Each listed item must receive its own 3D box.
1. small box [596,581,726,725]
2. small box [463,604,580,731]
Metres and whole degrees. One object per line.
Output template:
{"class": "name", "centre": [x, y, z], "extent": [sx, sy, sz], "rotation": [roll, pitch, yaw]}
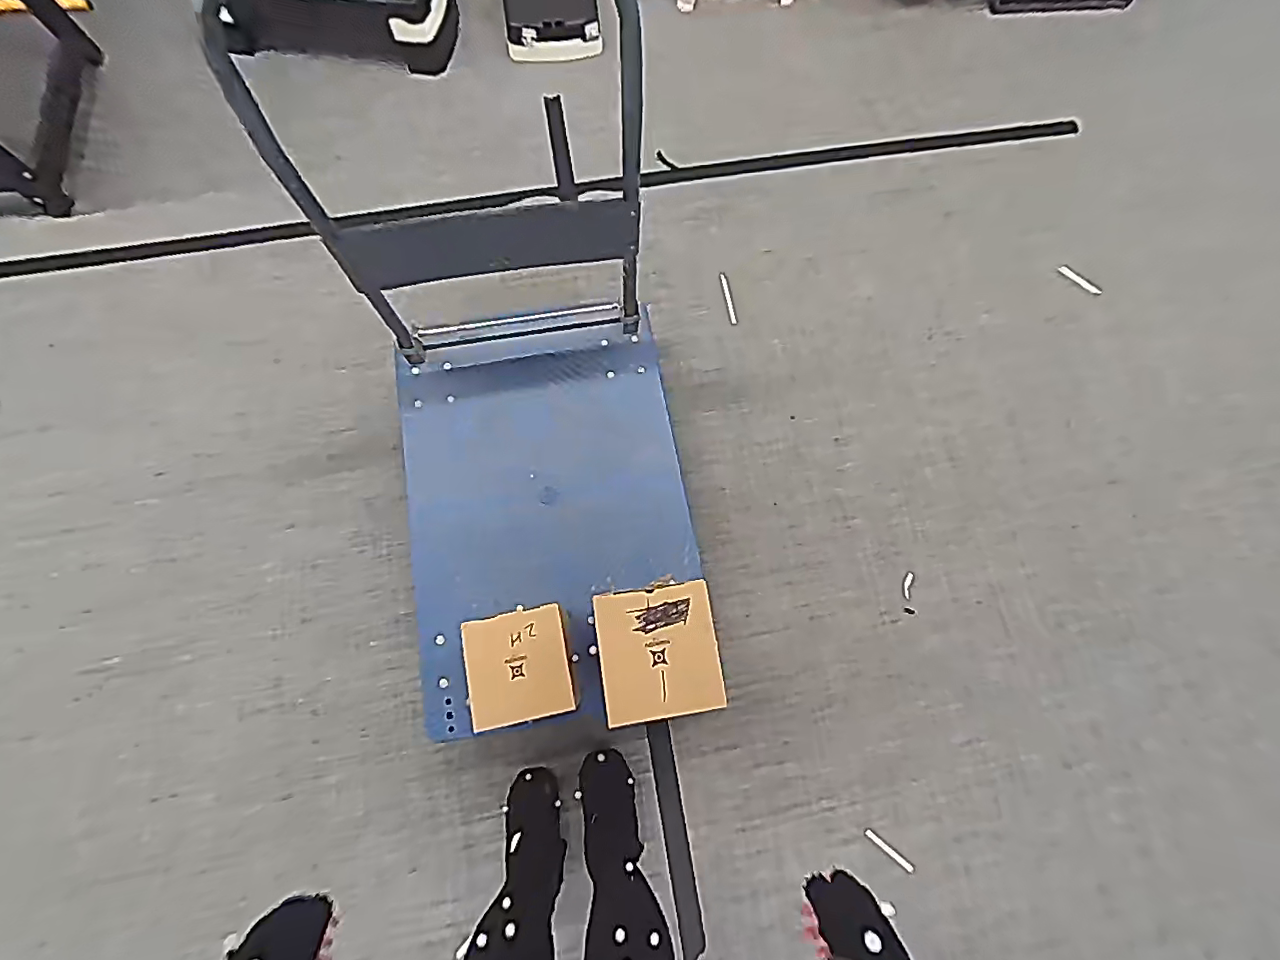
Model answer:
{"class": "small box", "centre": [0.022, 0.257, 0.825], "extent": [0.168, 0.176, 0.179], "rotation": [-7, 76, -5]}
{"class": "small box", "centre": [-0.204, 0.325, 0.966], "extent": [0.168, 0.176, 0.179], "rotation": [-10, 76, -6]}
